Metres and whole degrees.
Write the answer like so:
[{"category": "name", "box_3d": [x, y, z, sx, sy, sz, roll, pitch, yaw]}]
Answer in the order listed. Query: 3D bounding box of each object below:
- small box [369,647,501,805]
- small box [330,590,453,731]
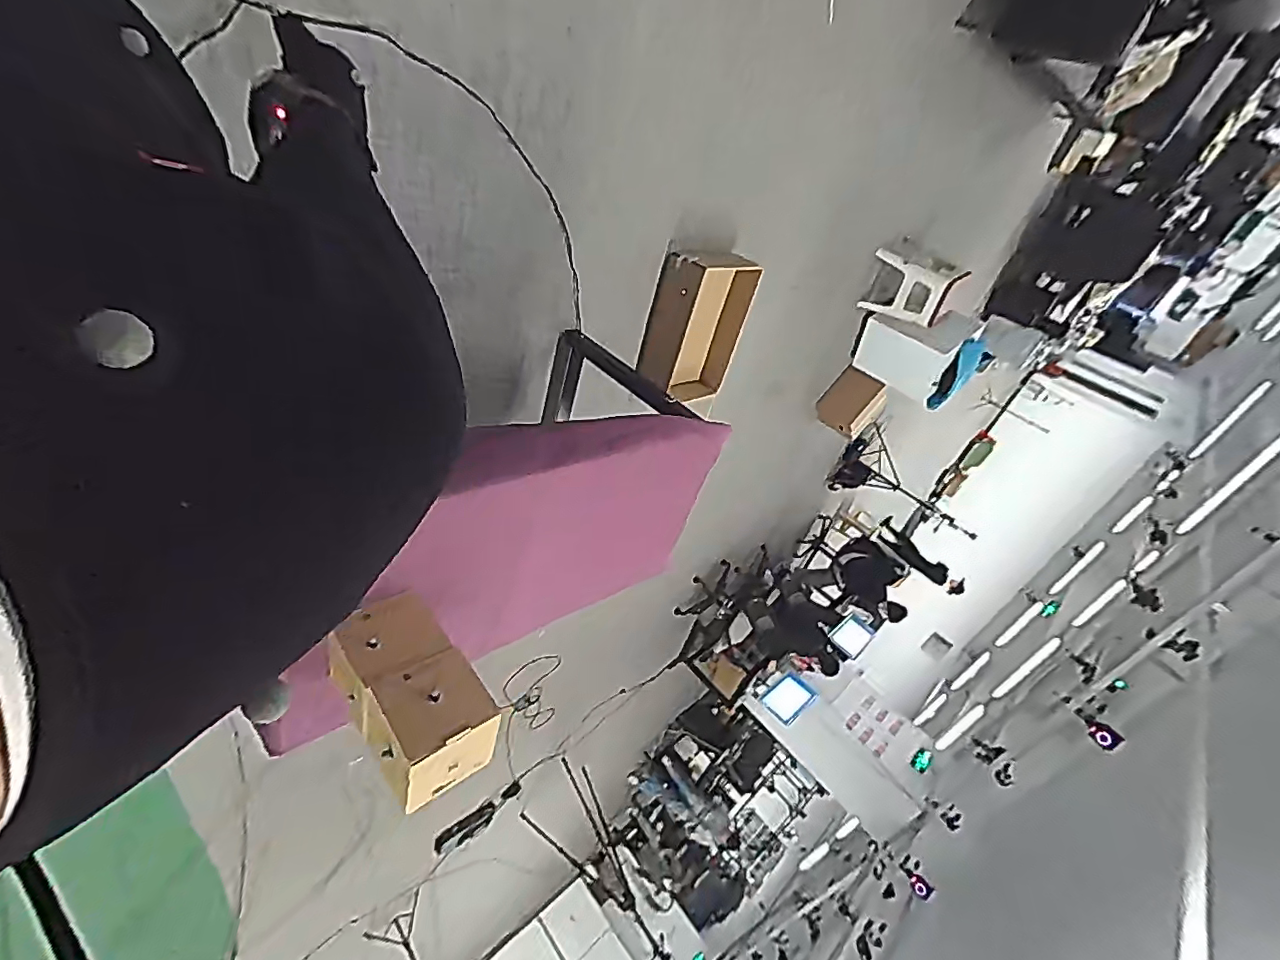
[{"category": "small box", "box_3d": [-0.377, 0.432, 0.982, 0.168, 0.176, 0.179, -17, 137, -43]}, {"category": "small box", "box_3d": [-0.489, 0.340, 1.058, 0.168, 0.176, 0.179, -17, 138, -43]}]
